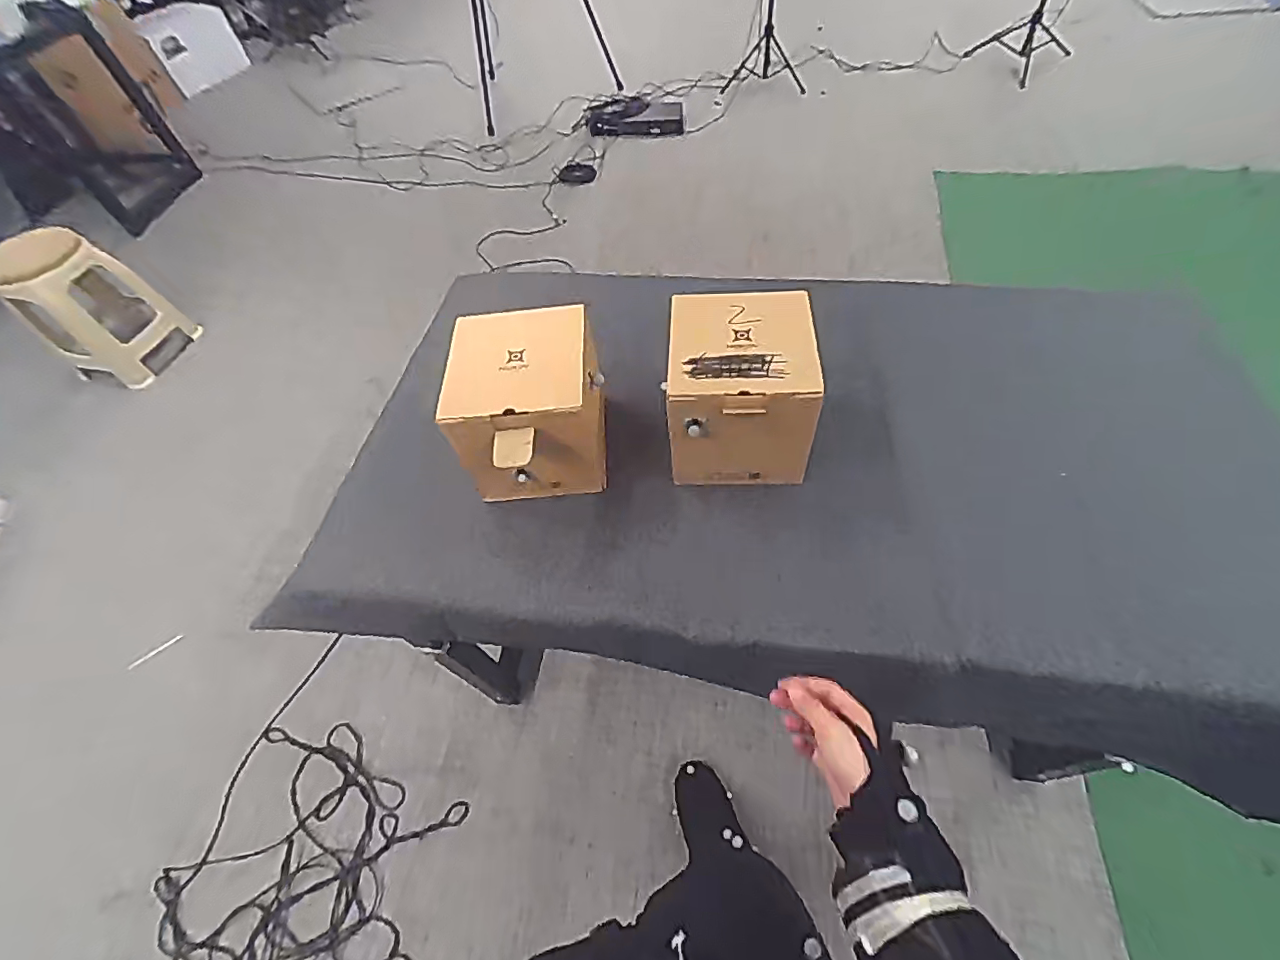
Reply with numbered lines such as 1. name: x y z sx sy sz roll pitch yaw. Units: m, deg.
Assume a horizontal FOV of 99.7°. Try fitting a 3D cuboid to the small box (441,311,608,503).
1. small box: -0.135 -0.091 0.699 0.168 0.176 0.179 -5 55 2
